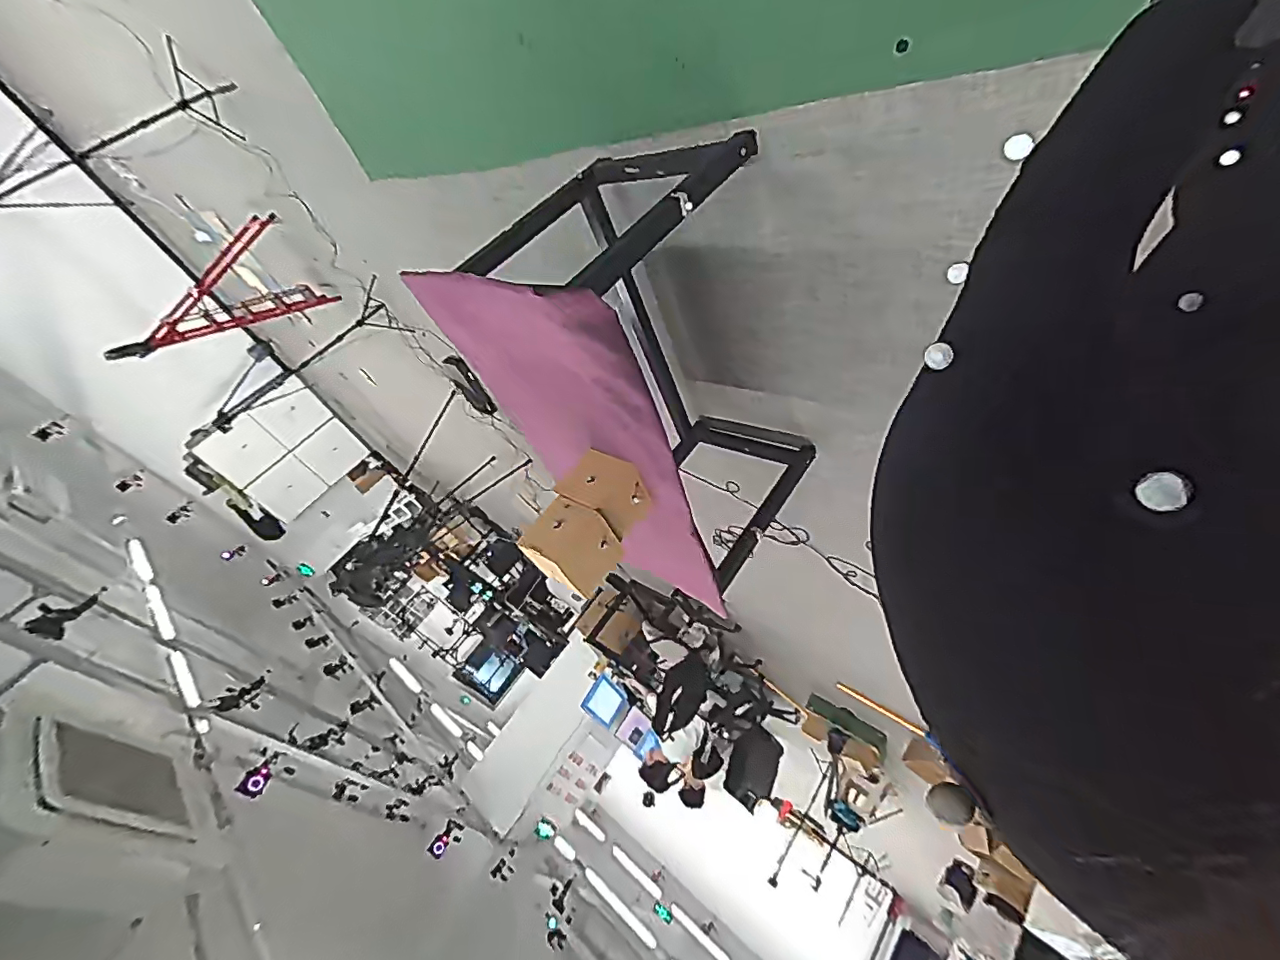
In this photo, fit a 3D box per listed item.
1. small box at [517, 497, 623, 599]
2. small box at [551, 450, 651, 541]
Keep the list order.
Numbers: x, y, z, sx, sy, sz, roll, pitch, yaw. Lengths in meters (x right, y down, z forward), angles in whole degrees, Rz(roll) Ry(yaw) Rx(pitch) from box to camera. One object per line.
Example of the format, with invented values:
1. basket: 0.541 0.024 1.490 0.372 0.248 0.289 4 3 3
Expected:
1. small box: -0.176 0.169 1.395 0.168 0.176 0.179 19 149 41
2. small box: -0.101 0.041 1.470 0.179 0.176 0.168 21 151 38
